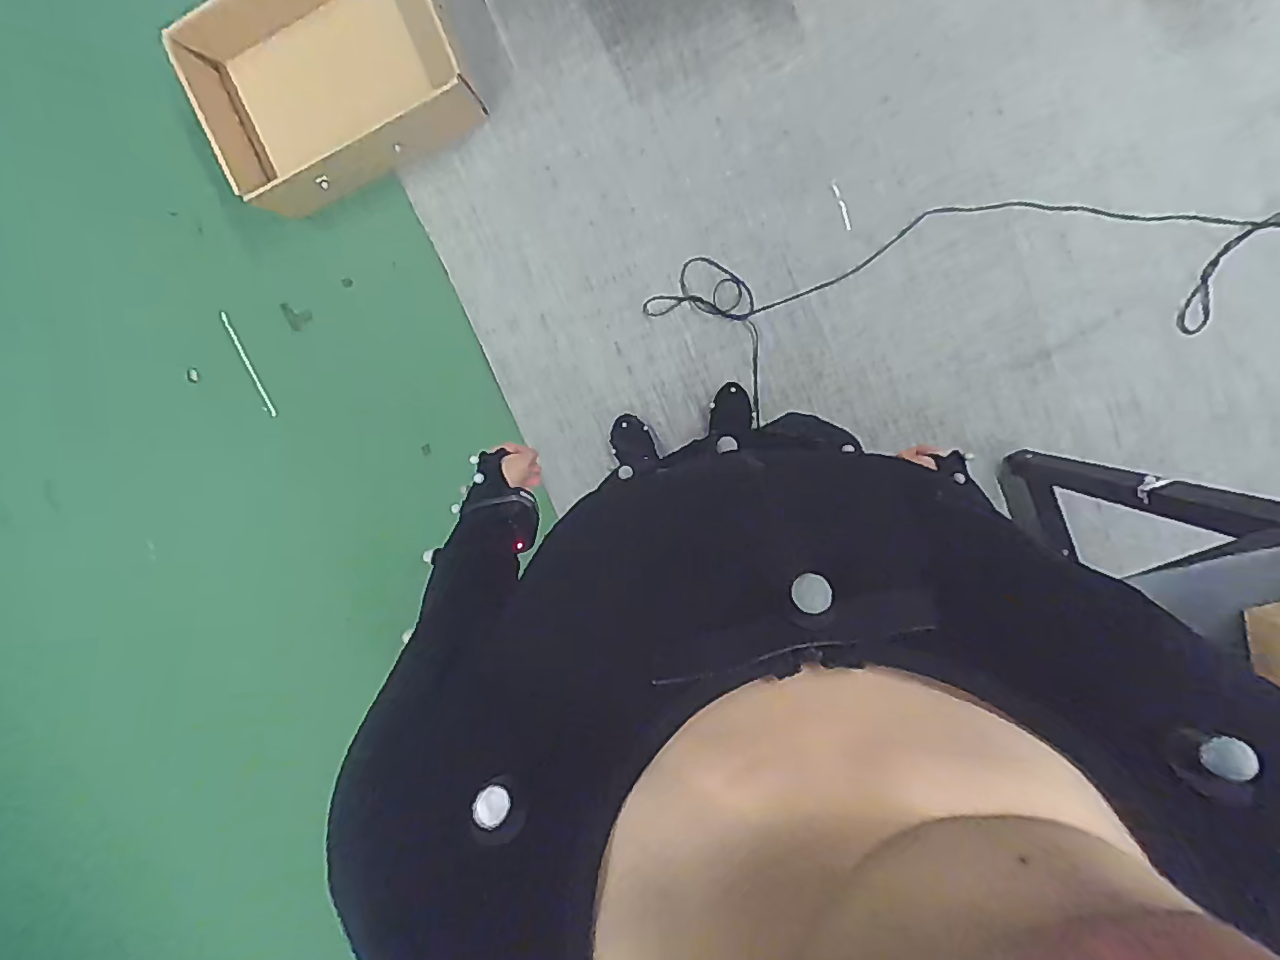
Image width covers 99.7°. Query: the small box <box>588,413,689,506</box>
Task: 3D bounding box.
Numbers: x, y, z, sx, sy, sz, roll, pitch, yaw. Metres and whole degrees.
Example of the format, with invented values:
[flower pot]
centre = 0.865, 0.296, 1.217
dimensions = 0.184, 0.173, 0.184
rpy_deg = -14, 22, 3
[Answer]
[small box]
centre = 0.002, -0.050, 1.383
dimensions = 0.176, 0.168, 0.179
rpy_deg = 30, 76, -27
